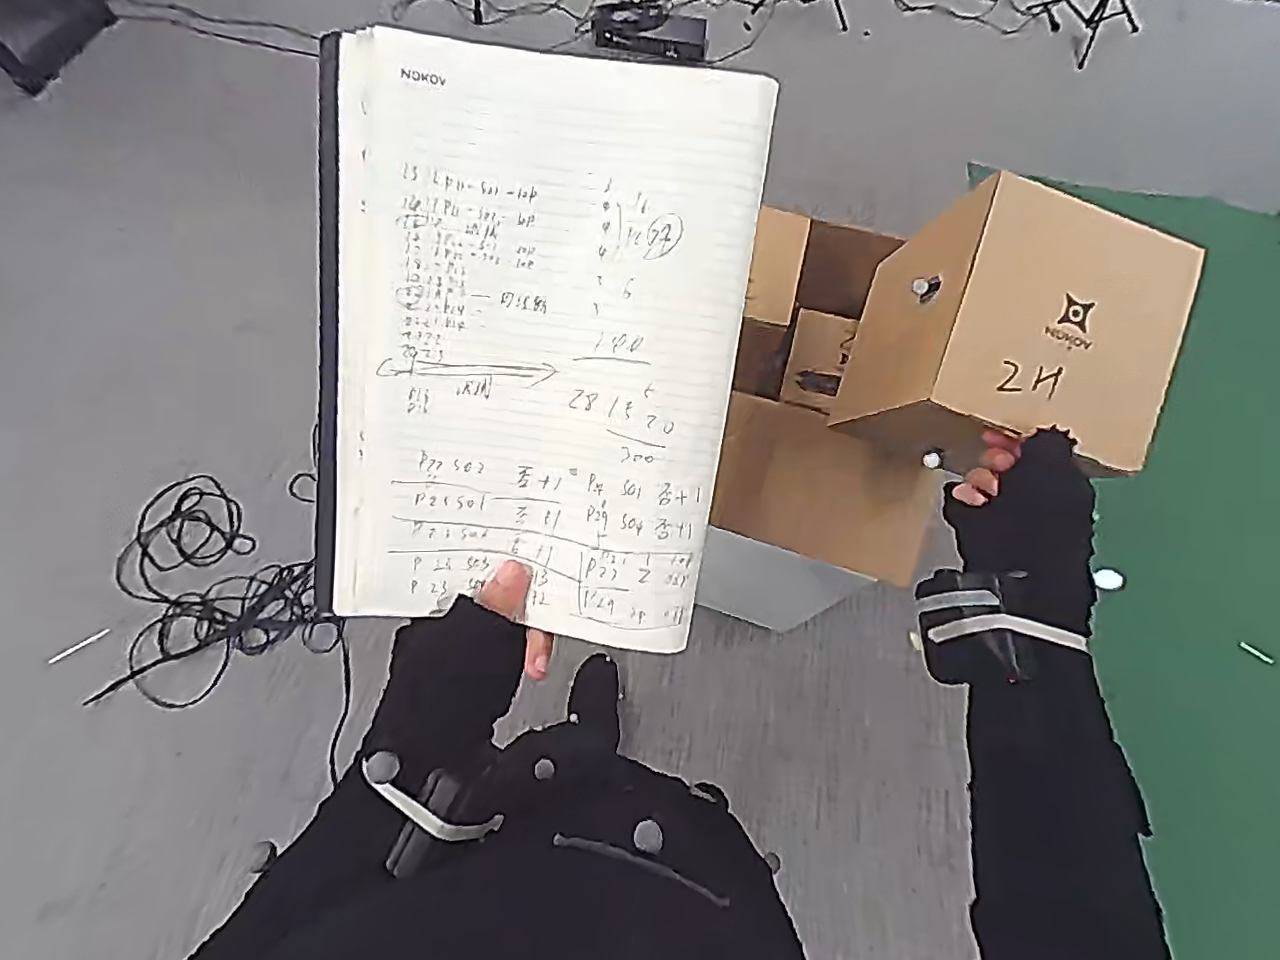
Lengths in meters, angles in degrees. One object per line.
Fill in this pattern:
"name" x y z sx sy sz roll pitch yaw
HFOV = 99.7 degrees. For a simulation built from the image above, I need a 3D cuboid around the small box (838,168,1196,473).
"small box" 0.298 -0.114 0.465 0.168 0.176 0.179 19 88 -4
